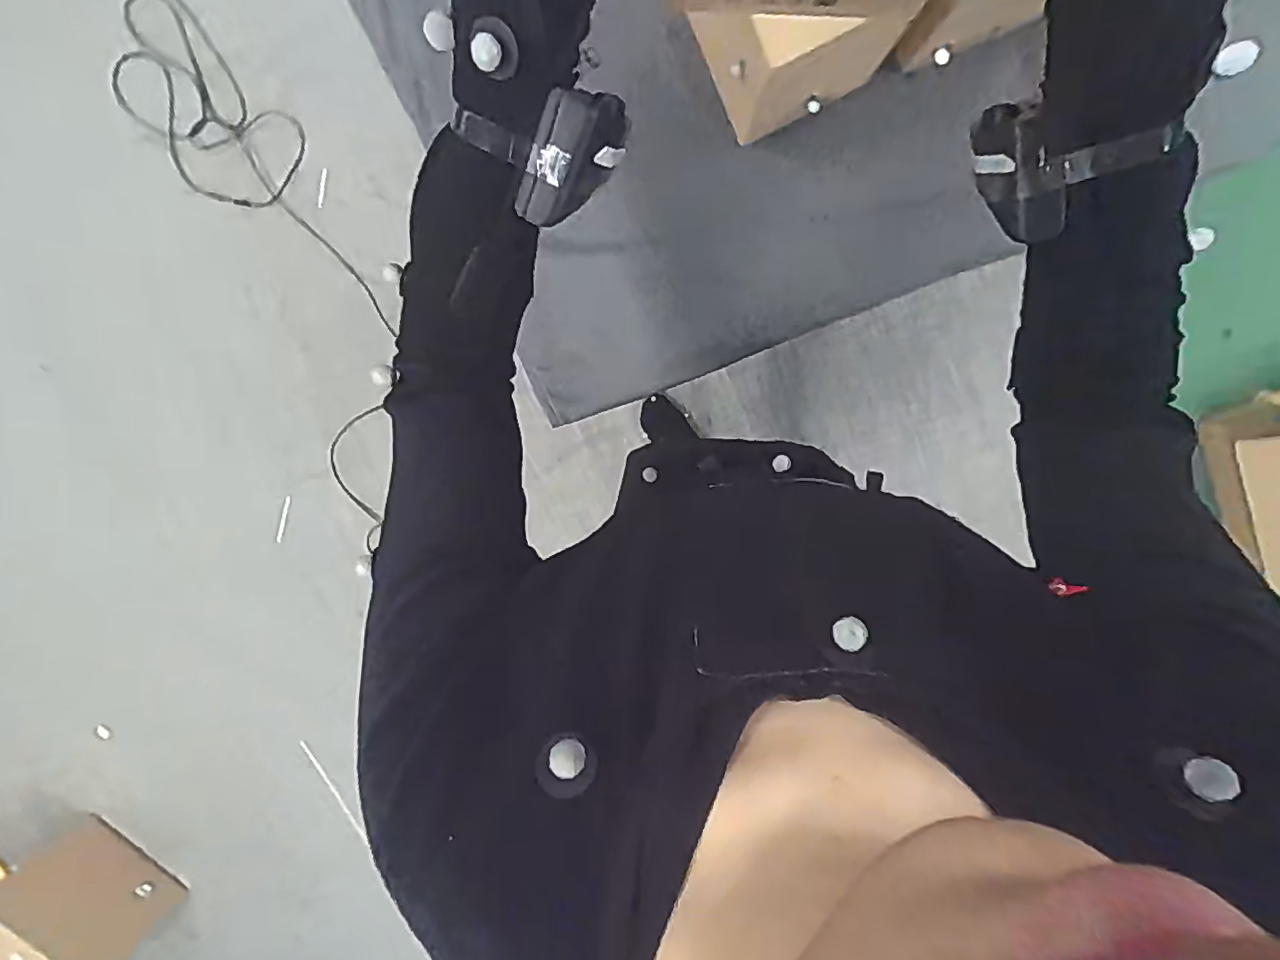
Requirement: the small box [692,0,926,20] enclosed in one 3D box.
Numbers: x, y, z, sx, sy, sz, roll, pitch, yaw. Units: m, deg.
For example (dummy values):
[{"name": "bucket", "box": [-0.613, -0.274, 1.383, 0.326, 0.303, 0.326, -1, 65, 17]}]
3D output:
[{"name": "small box", "box": [0.102, -0.363, 0.247, 0.168, 0.176, 0.179, 4, 106, 2]}]
